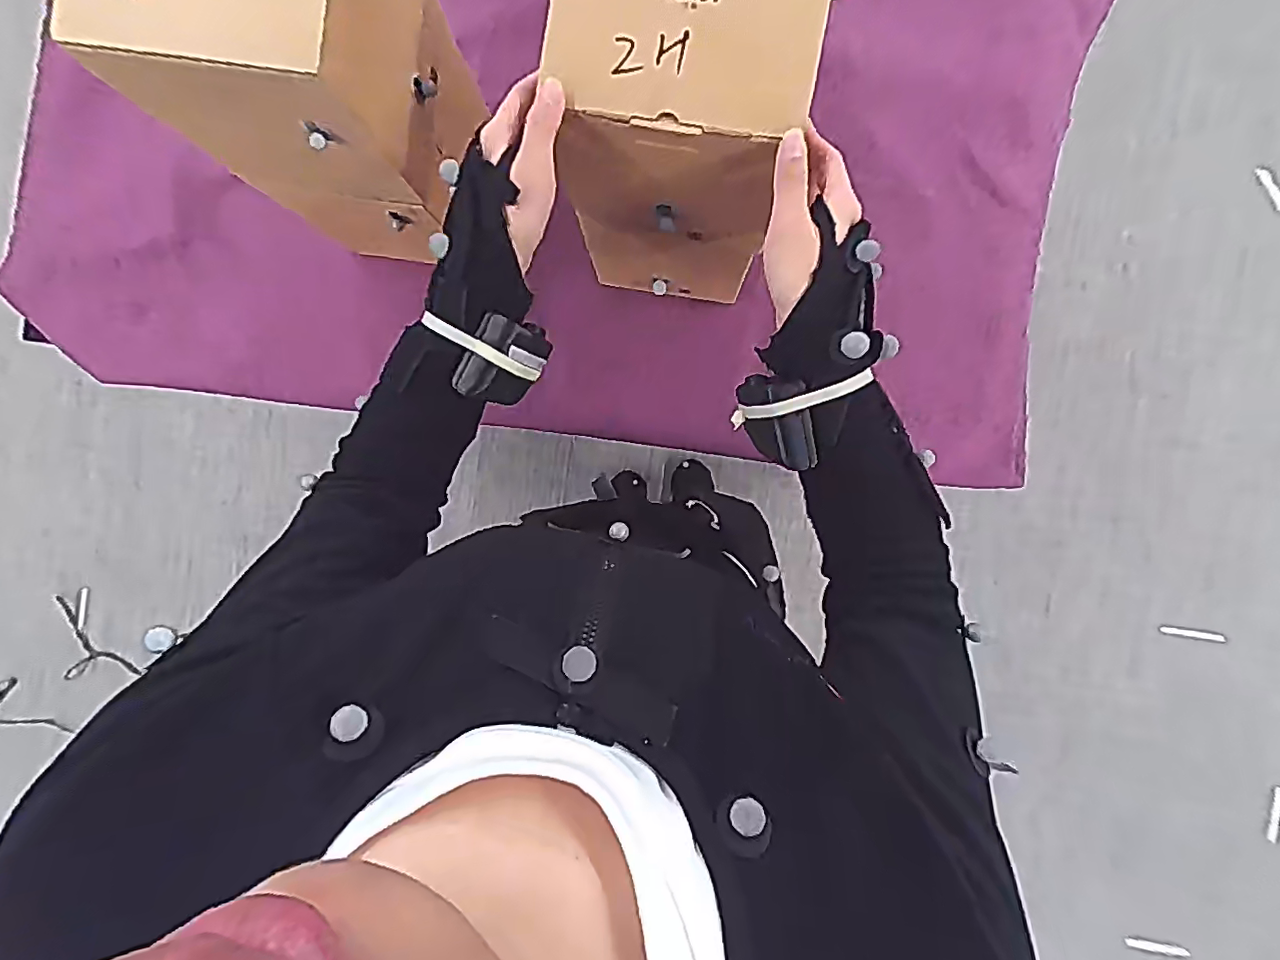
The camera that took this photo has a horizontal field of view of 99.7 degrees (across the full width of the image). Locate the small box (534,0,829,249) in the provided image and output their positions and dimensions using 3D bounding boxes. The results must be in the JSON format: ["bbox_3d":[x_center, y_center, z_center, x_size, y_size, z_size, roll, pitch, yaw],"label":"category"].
[{"bbox_3d":[0.037,-0.302,0.399,0.168,0.176,0.179,11,91,4],"label":"small box"}]

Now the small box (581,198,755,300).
[{"bbox_3d":[0.042,-0.312,0.569,0.168,0.176,0.179,10,92,2],"label":"small box"}]

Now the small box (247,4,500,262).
[{"bbox_3d":[-0.269,-0.353,0.582,0.179,0.176,0.168,8,91,1],"label":"small box"}]
